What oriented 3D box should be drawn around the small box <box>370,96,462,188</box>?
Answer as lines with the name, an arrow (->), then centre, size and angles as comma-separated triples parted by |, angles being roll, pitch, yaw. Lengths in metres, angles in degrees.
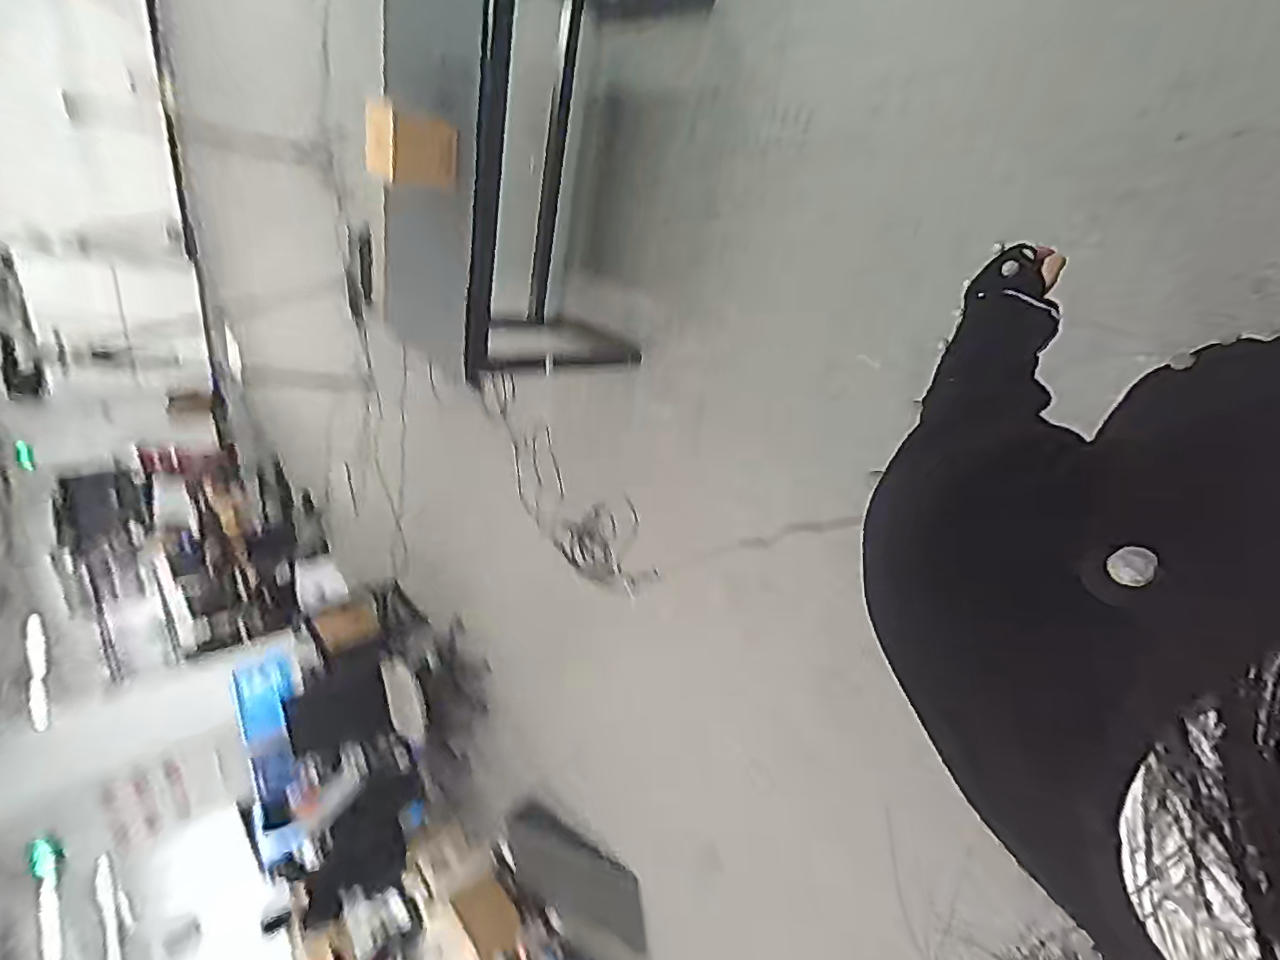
small box -> -0.585, -0.876, 1.408 | 0.179, 0.176, 0.168 | 35, 124, 36
